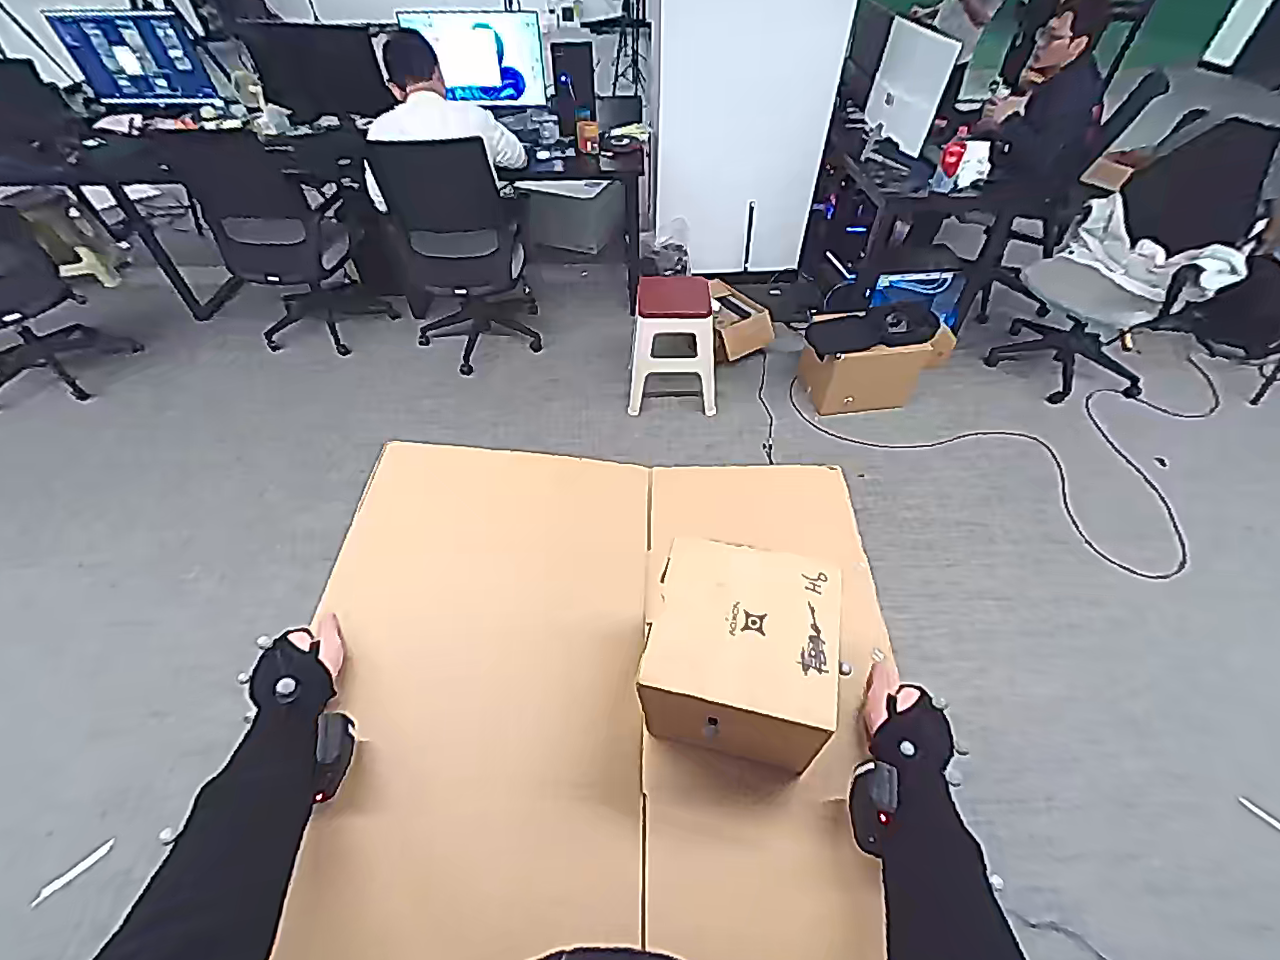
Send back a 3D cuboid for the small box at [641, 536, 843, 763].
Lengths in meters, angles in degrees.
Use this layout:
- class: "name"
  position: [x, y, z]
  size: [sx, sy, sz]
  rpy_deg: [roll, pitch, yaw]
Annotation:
- class: "small box"
  position: [0.111, 0.186, 0.585]
  size: [0.179, 0.176, 0.168]
  rpy_deg: [9, 52, 13]
